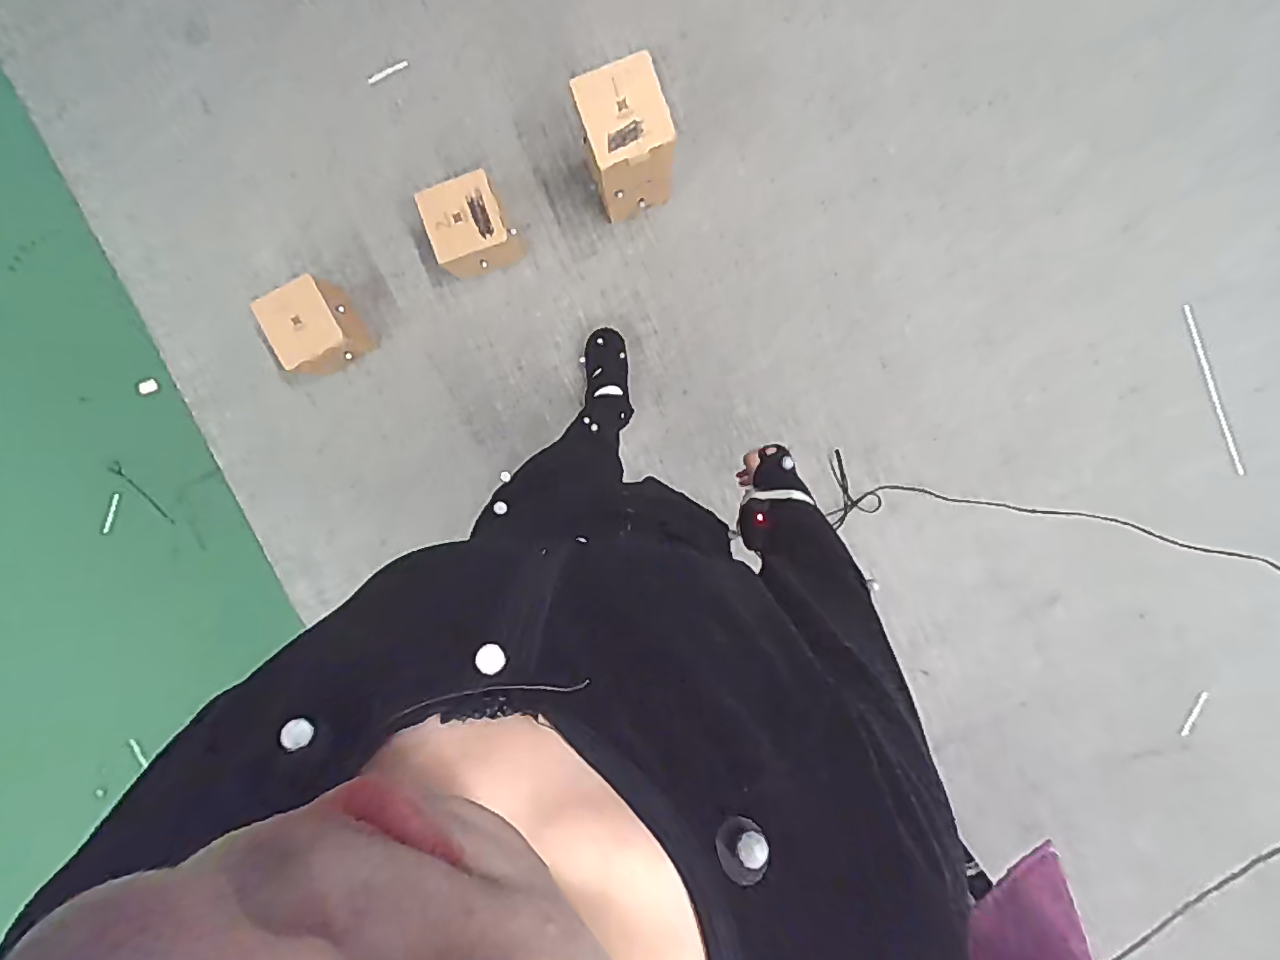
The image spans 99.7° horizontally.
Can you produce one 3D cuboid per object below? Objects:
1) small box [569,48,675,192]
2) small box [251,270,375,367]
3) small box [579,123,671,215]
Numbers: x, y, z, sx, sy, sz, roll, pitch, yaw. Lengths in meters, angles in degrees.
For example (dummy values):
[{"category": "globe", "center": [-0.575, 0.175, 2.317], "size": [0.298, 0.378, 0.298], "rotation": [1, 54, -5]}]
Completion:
[{"category": "small box", "center": [-0.033, -0.731, 1.127], "size": [0.168, 0.176, 0.179], "rotation": [-20, 96, 3]}, {"category": "small box", "center": [-0.803, -0.391, 1.349], "size": [0.168, 0.176, 0.179], "rotation": [-25, 96, 3]}, {"category": "small box", "center": [-0.031, -0.759, 1.290], "size": [0.168, 0.176, 0.179], "rotation": [-21, 98, 3]}]
